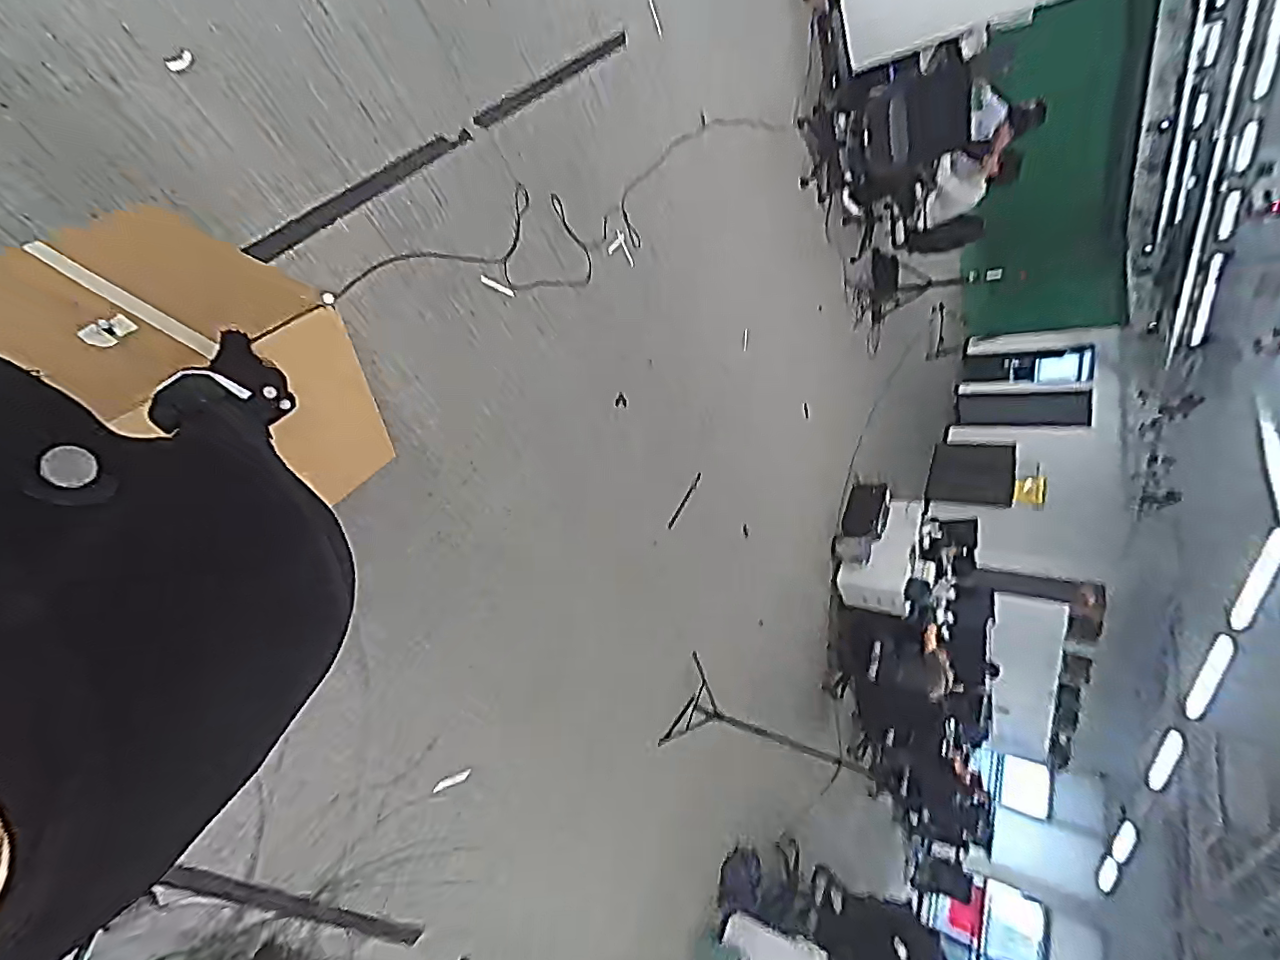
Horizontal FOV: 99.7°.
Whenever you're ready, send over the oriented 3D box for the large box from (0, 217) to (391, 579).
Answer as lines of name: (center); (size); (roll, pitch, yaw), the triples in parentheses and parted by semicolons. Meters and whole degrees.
large box: (-0.665, -0.126, 0.805); (0.320, 0.408, 0.320); (-52, 162, -34)
